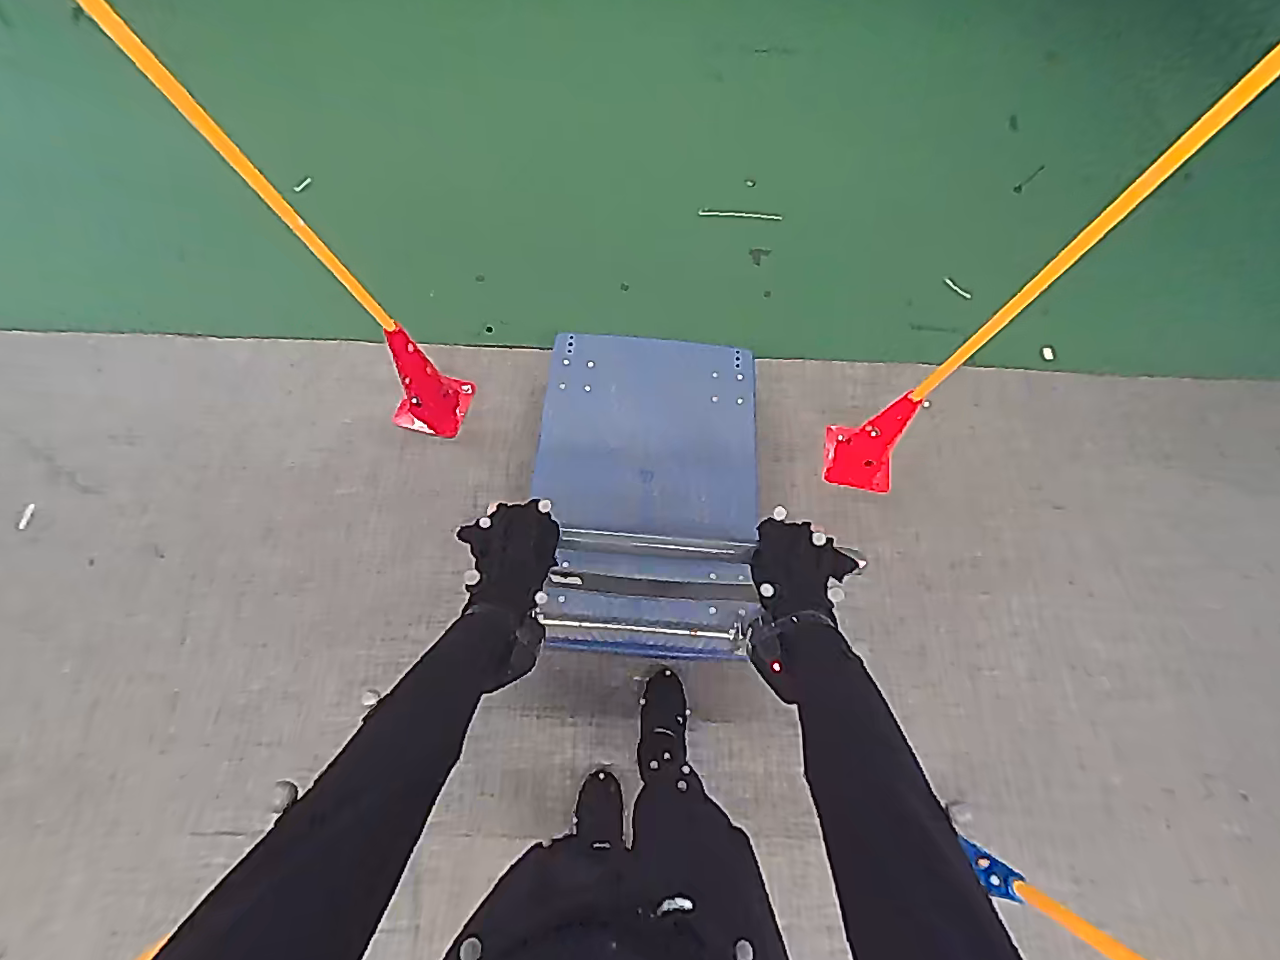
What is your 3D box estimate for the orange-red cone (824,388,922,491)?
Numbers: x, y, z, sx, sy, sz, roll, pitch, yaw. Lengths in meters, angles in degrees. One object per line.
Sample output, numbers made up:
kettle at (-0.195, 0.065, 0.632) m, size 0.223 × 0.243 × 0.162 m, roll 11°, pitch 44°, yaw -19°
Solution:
orange-red cone at (0.662, -0.136, 1.469) m, size 0.198 × 0.360 × 0.199 m, roll 12°, pitch 67°, yaw 3°
